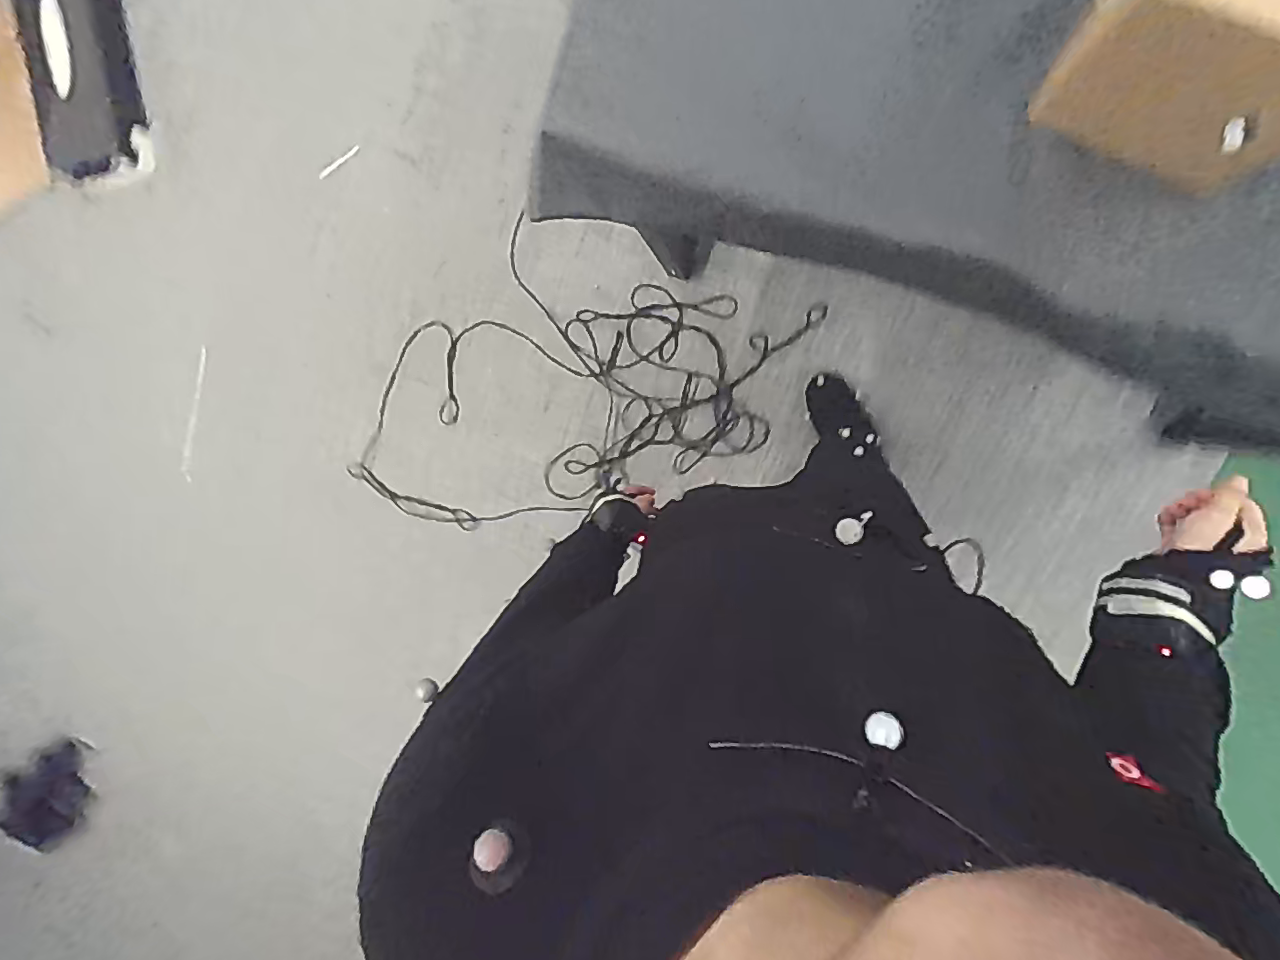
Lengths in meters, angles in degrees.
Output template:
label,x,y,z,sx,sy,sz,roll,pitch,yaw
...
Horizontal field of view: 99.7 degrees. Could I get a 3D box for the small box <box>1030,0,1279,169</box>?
label,x,y,z,sx,sy,sz,roll,pitch,yaw
small box,0.454,-0.369,0.405,0.179,0.176,0.168,28,101,8
